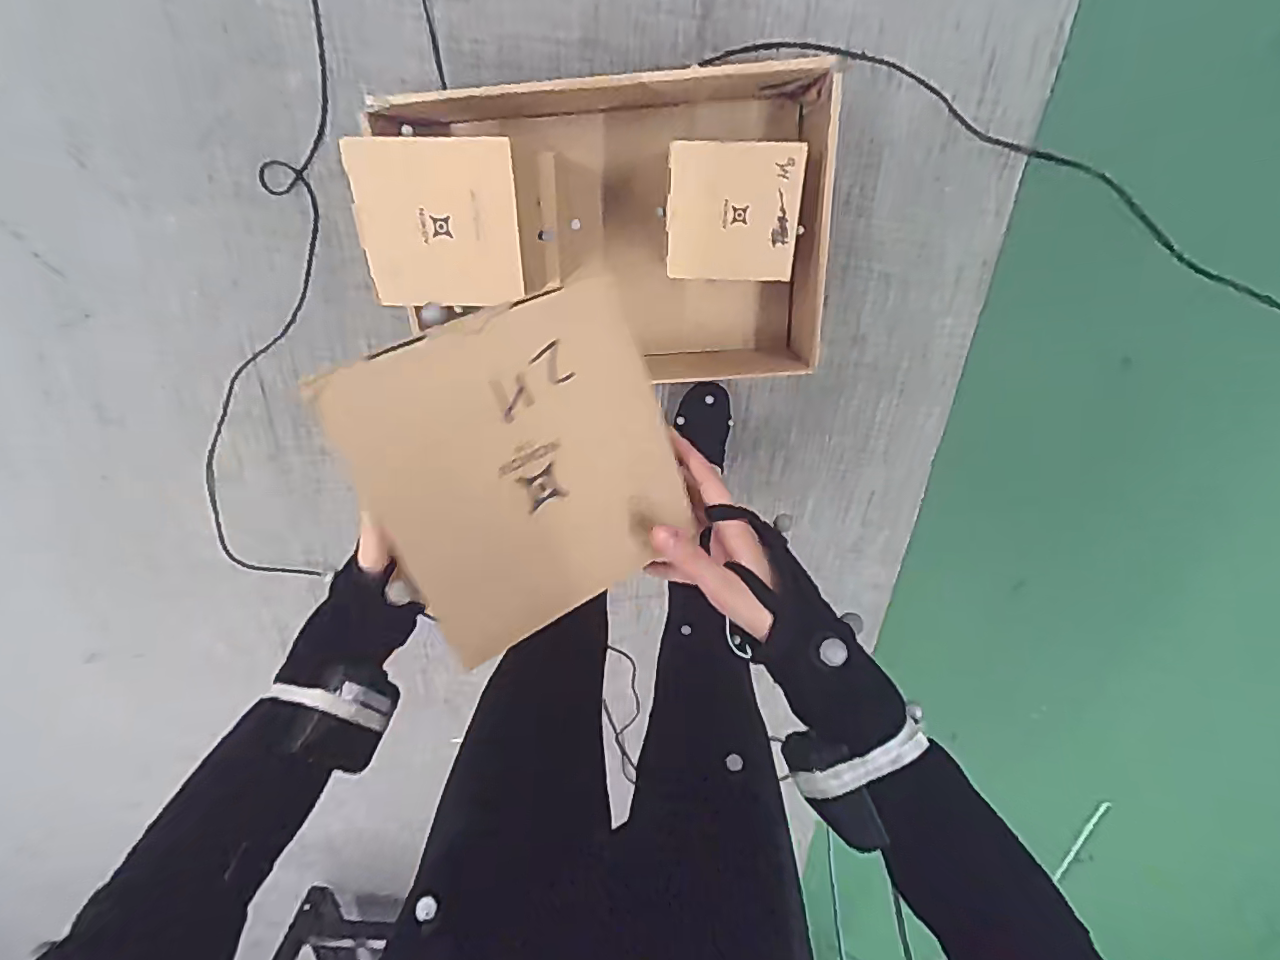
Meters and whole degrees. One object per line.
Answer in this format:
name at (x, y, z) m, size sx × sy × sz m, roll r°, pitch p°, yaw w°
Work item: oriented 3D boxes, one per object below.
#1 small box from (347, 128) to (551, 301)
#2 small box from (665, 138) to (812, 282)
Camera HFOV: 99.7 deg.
small box at (-0.209, -0.312, 0.647) m, size 0.179 × 0.176 × 0.168 m, roll 1°, pitch 118°, yaw -1°
small box at (0.129, -0.386, 0.785) m, size 0.179 × 0.176 × 0.168 m, roll 3°, pitch 117°, yaw 0°
